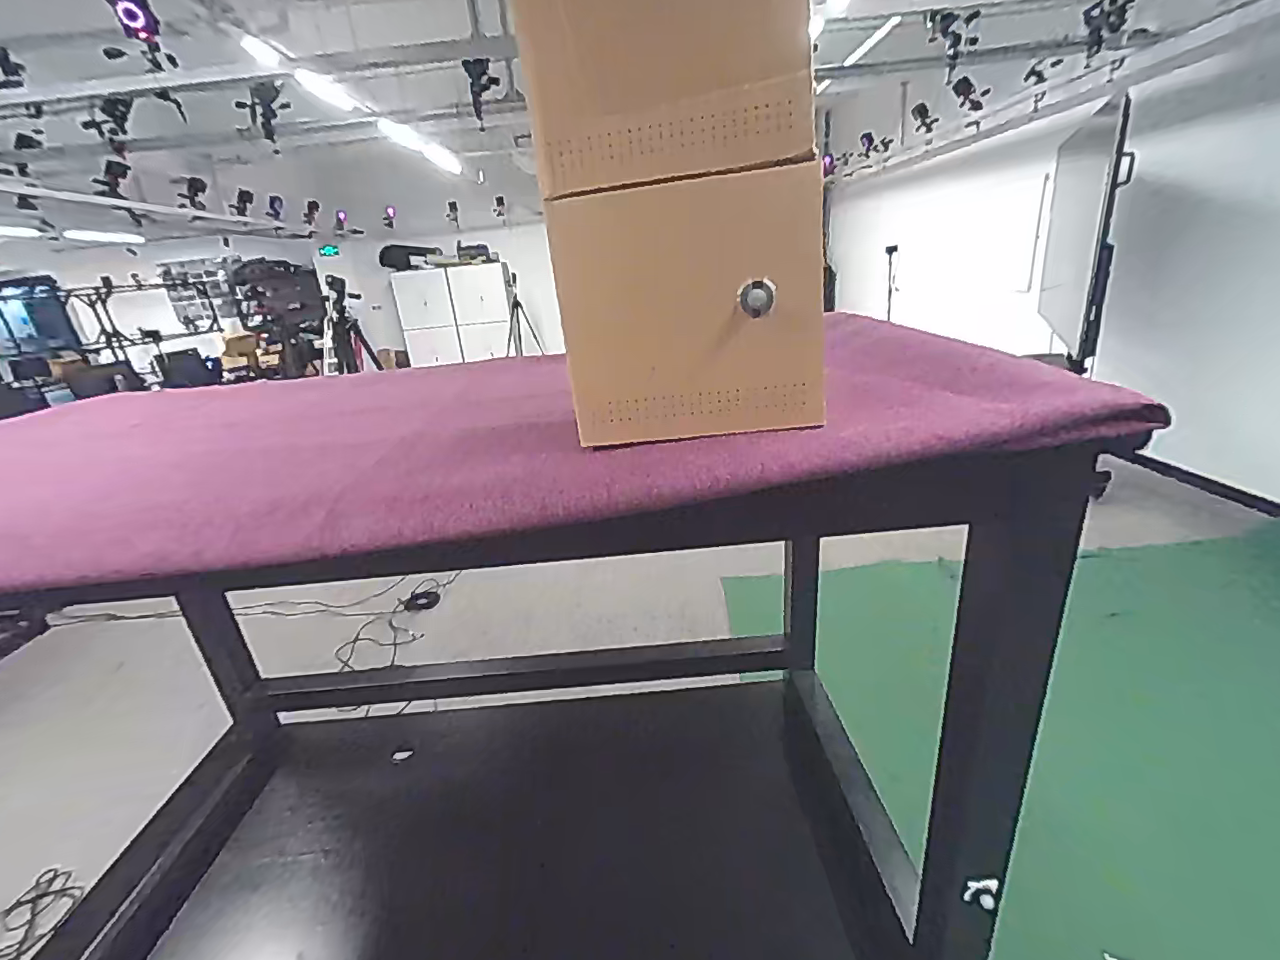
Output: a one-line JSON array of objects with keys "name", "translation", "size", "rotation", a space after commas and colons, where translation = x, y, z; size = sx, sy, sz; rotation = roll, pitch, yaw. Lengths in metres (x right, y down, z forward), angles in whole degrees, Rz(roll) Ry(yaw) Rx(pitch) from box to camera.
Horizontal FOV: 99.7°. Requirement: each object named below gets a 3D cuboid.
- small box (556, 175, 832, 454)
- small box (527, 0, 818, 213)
[{"name": "small box", "translation": [0.047, -0.127, 0.438], "size": [0.179, 0.176, 0.168], "rotation": [-6, 18, 7]}, {"name": "small box", "translation": [0.027, -0.282, 0.394], "size": [0.179, 0.176, 0.168], "rotation": [-3, 18, 9]}]
